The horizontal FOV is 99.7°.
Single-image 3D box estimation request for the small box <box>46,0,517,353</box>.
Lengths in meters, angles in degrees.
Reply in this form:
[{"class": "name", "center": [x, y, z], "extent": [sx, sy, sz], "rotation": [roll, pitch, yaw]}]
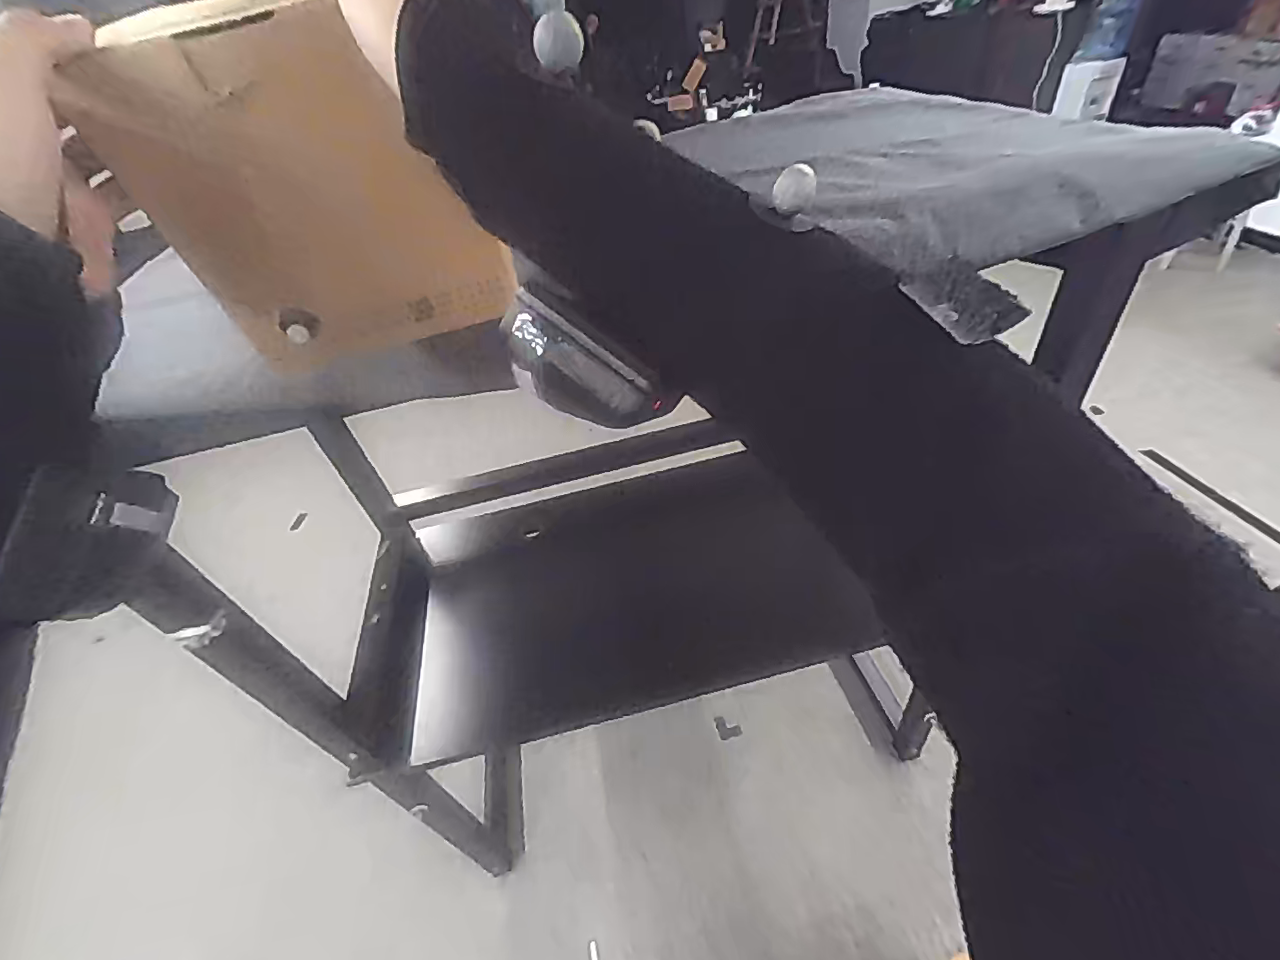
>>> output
[{"class": "small box", "center": [-0.188, -0.201, 0.351], "extent": [0.168, 0.176, 0.179], "rotation": [-17, 48, -4]}]
